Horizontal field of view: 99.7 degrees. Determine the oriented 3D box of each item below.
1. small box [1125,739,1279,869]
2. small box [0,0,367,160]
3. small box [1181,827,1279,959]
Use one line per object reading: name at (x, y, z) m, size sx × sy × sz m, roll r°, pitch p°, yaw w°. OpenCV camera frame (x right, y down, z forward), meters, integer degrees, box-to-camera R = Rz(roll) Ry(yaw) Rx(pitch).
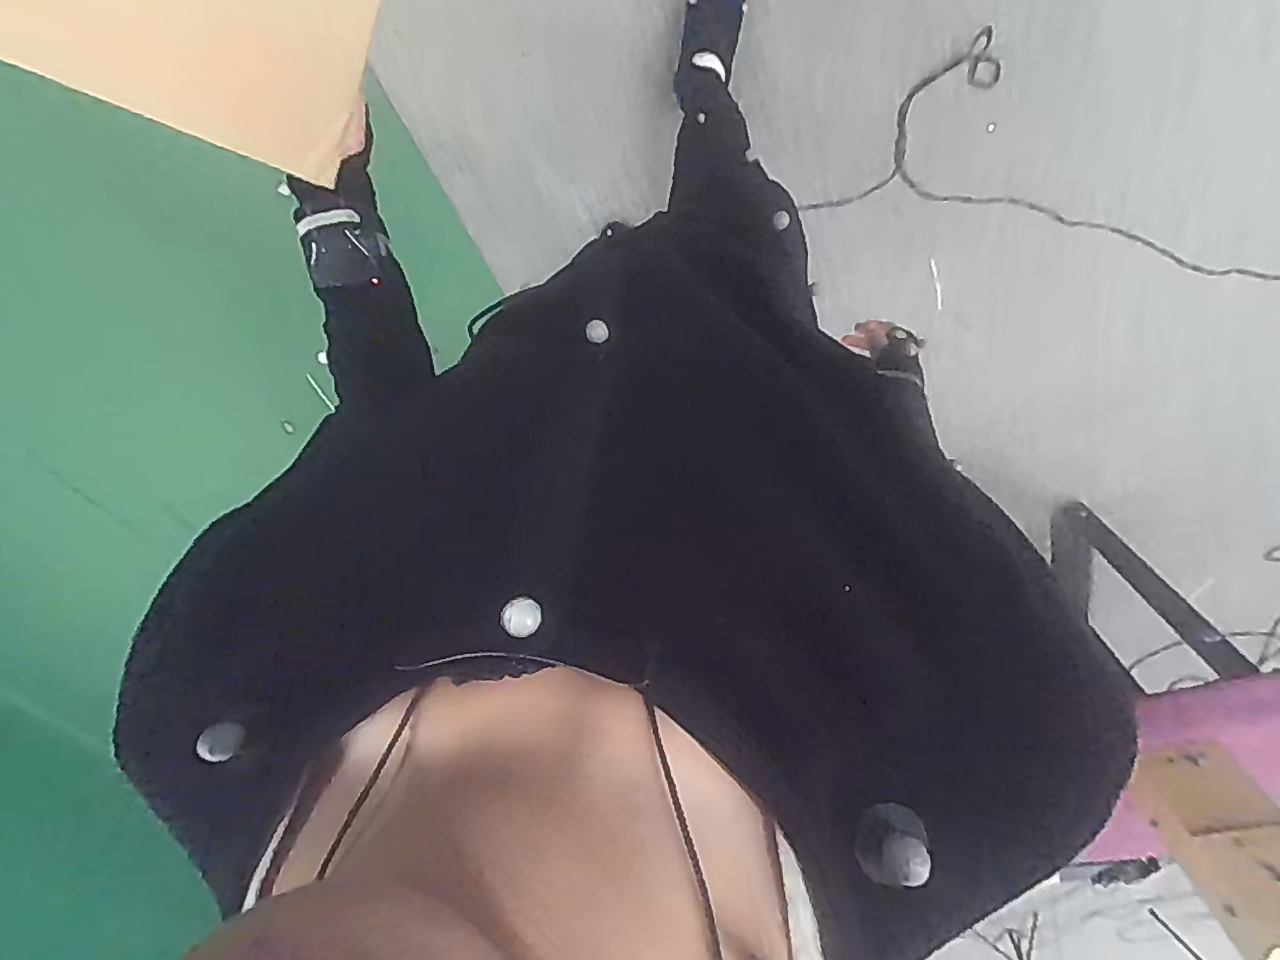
small box at (1.157, 0.671, 1.122) m, size 0.168 × 0.176 × 0.179 m, roll -20°, pitch 121°, yaw 15°
small box at (-0.230, -0.306, 0.264) m, size 0.168 × 0.179 × 0.176 m, roll 6°, pitch 130°, yaw -42°
small box at (1.146, 0.756, 0.982) m, size 0.168 × 0.176 × 0.179 m, roll -19°, pitch 121°, yaw 14°
